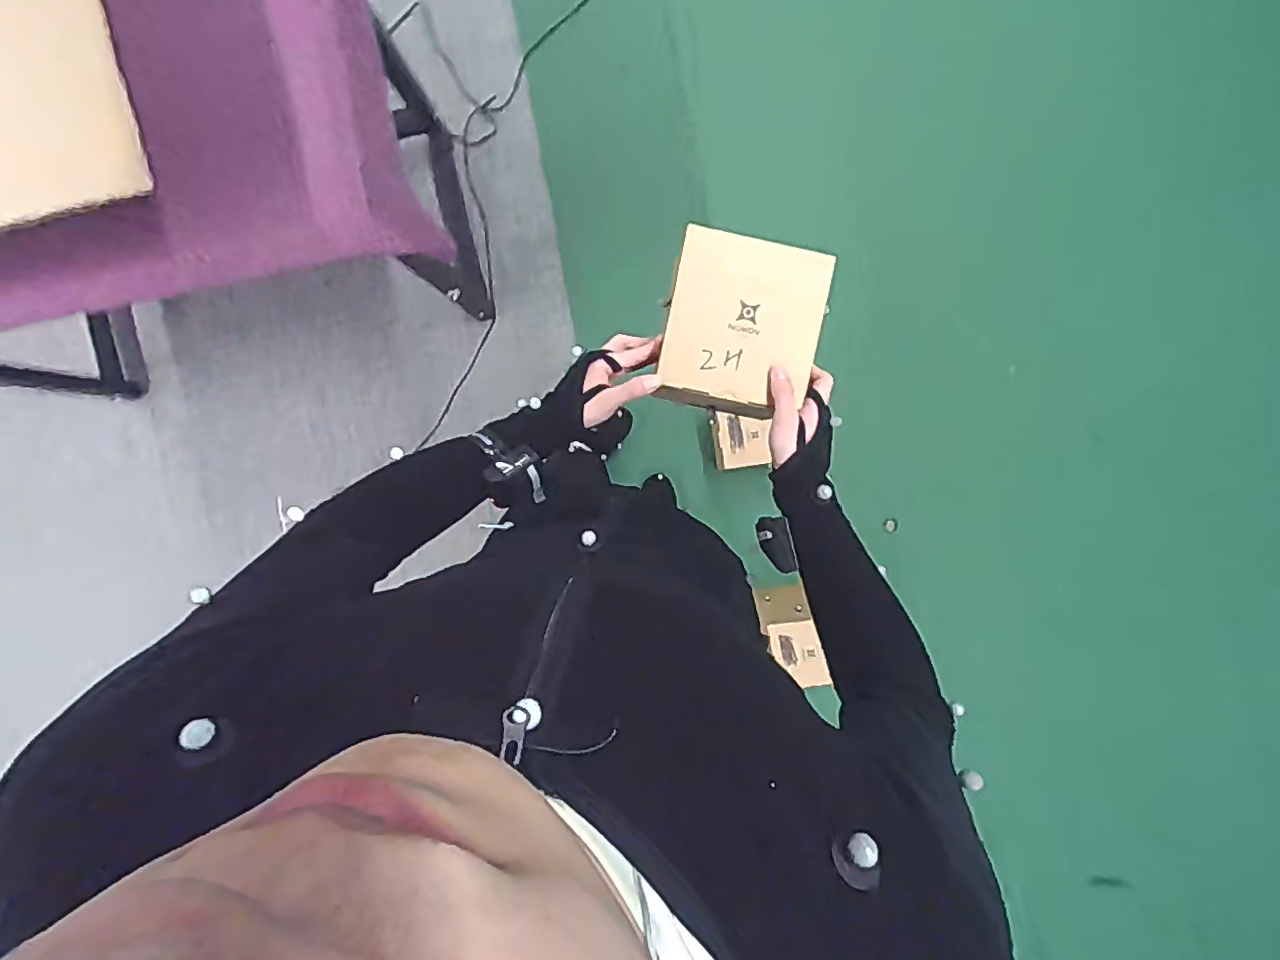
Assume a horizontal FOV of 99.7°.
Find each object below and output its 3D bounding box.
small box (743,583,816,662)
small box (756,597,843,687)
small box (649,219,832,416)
[{"bbox_3d":[0.404,0.400,1.547,0.179,0.176,0.168,-8,93,2],"label":"small box"},{"bbox_3d":[0.399,0.408,1.383,0.179,0.176,0.168,-7,93,2],"label":"small box"},{"bbox_3d":[0.107,-0.181,0.657,0.168,0.176,0.179,11,95,-2],"label":"small box"}]
